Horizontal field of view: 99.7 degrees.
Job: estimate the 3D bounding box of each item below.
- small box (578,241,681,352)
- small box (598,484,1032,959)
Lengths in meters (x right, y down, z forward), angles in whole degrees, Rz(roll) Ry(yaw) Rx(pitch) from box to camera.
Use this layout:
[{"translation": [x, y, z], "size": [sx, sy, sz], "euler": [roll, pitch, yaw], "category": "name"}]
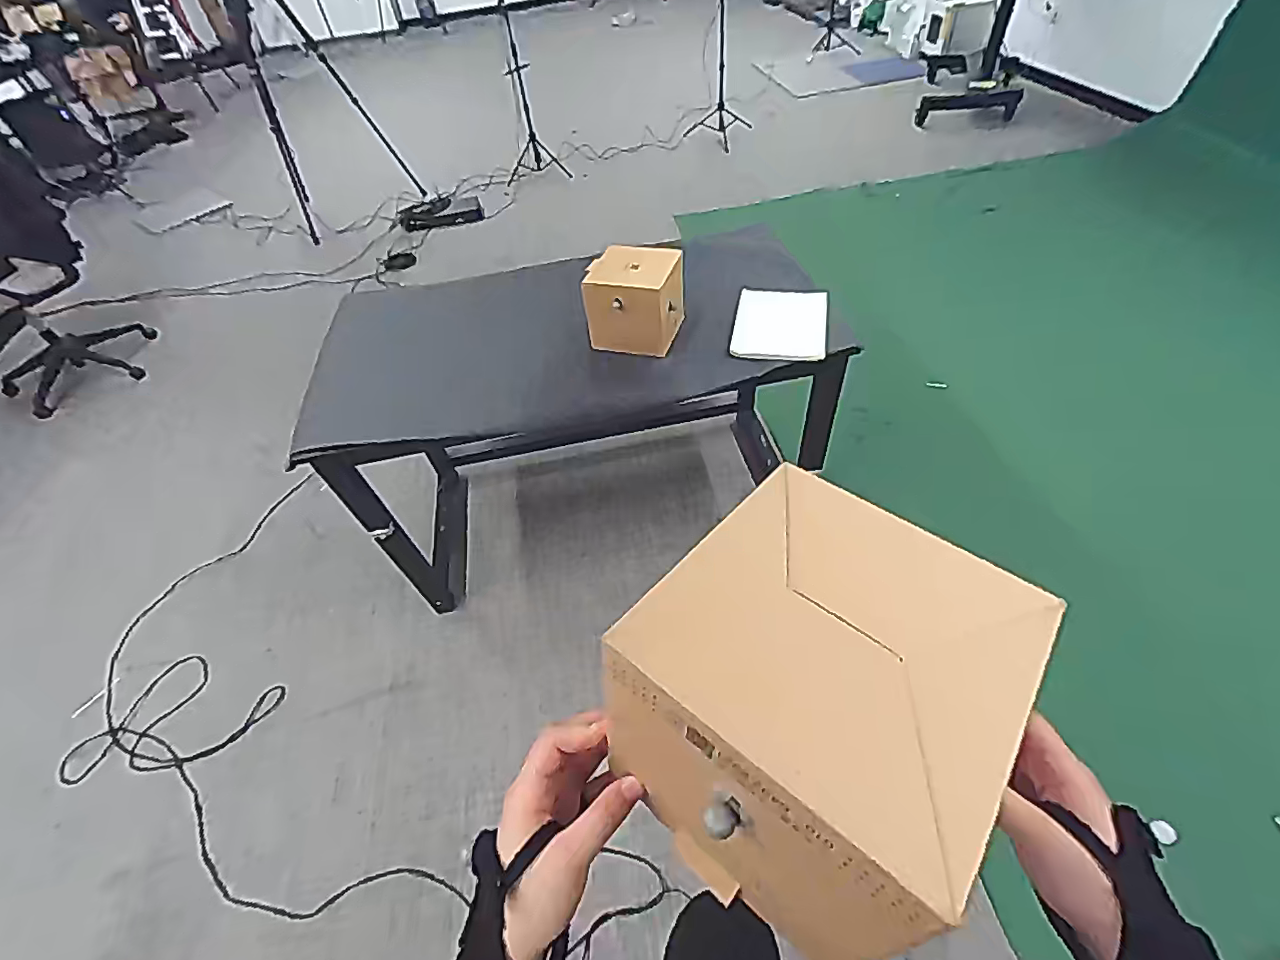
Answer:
[{"translation": [-0.013, -0.403, 1.196], "size": [0.179, 0.176, 0.168], "euler": [11, 52, 17], "category": "small box"}, {"translation": [0.092, 0.125, 0.321], "size": [0.168, 0.176, 0.179], "euler": [31, 50, 28], "category": "small box"}]
